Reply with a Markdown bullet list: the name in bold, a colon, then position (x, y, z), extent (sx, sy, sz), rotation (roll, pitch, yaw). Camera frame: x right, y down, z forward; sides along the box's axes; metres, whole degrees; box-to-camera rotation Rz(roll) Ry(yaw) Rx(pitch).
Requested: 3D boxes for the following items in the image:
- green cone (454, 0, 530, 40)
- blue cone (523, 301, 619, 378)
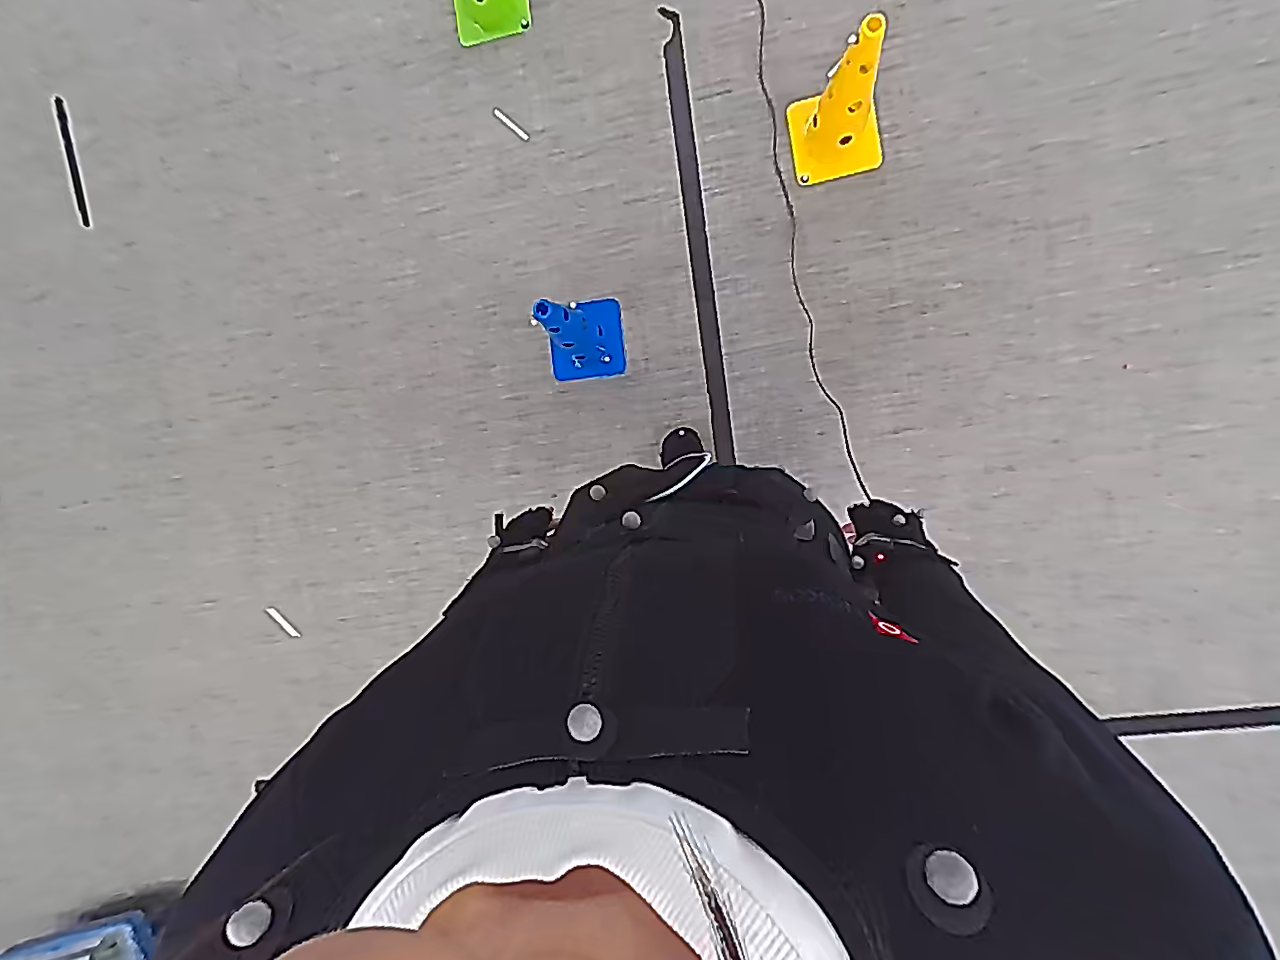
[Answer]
- **green cone**: position (-0.419, -1.249, 1.228), extent (0.202, 0.368, 0.200), rotation (-7, 93, 11)
- **blue cone**: position (-0.179, -0.362, 1.277), extent (0.192, 0.380, 0.193), rotation (-4, 94, 10)
